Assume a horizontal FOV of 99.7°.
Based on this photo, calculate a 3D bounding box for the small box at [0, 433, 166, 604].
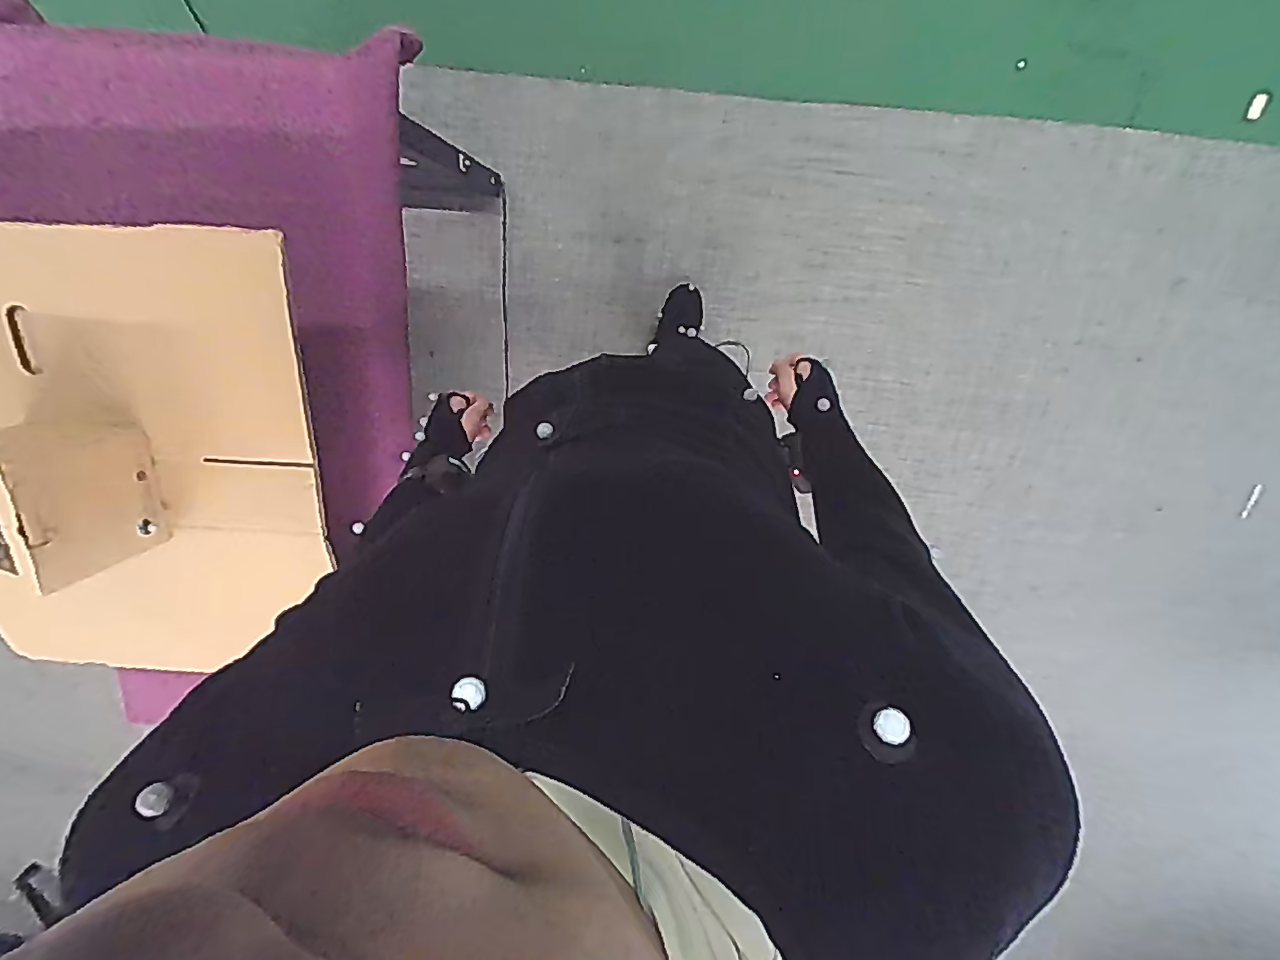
[{"bbox_3d":[-0.753,0.039,0.683,0.179,0.176,0.168,3,107,3],"label":"small box"}]
